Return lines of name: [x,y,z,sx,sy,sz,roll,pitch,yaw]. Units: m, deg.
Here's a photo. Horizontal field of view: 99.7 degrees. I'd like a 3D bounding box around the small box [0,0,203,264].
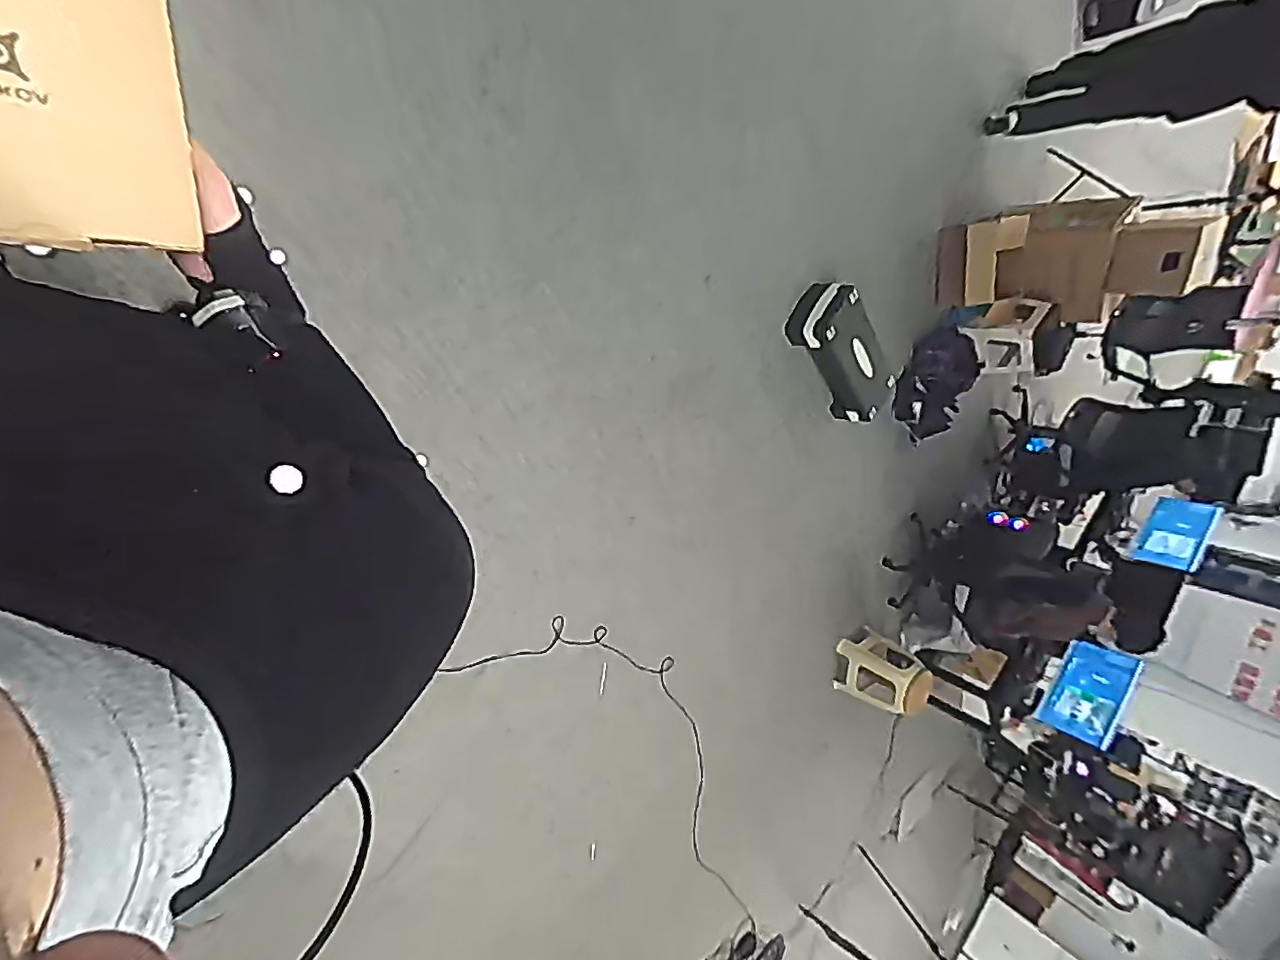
small box: [-0.410,-0.246,0.344,0.168,0.176,0.179,-16,122,-45]
